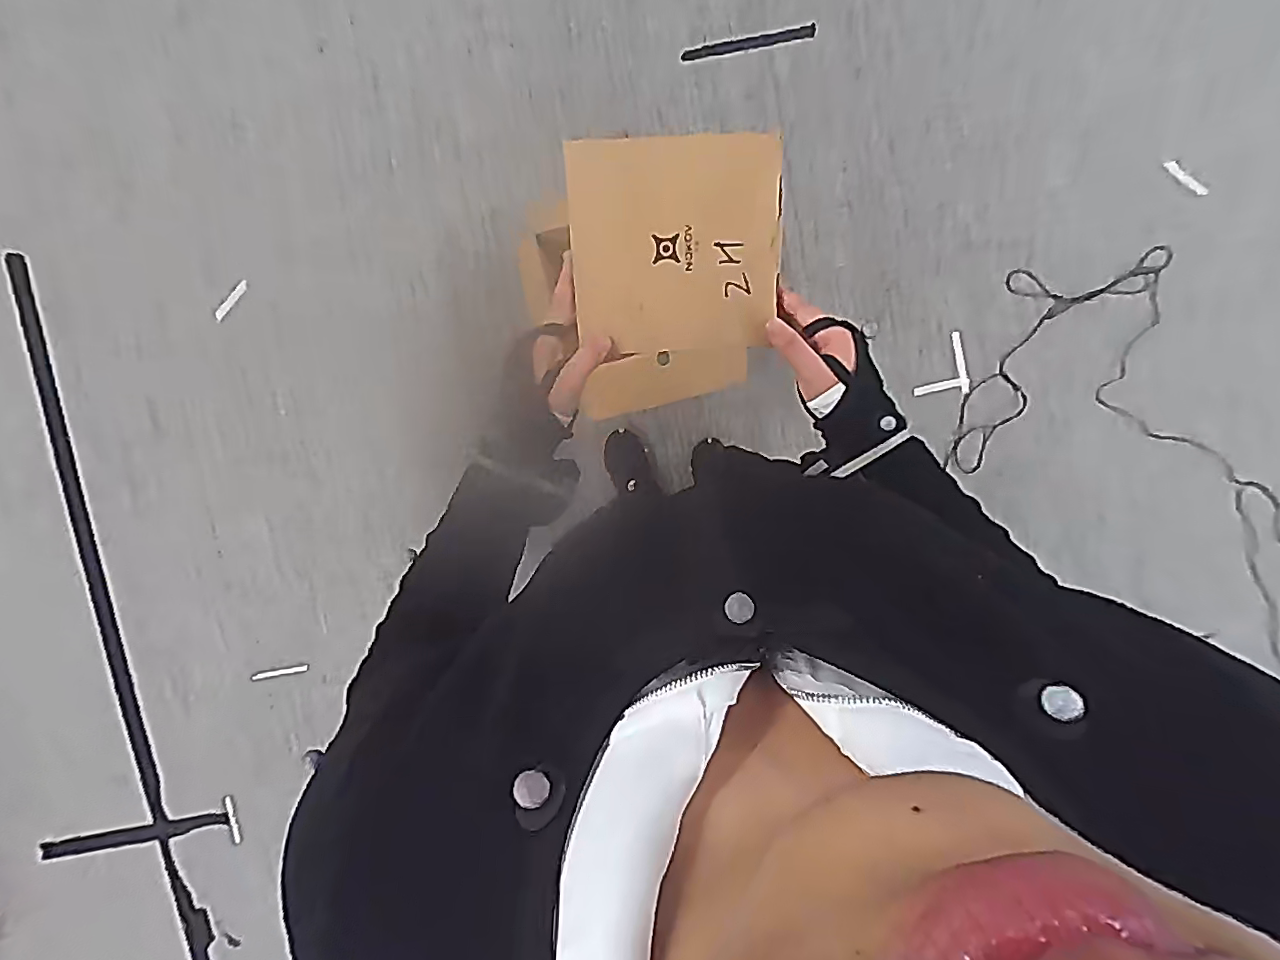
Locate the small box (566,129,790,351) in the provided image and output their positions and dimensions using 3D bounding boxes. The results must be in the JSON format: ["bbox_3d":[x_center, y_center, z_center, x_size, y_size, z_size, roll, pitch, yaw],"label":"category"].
[{"bbox_3d":[0.031,-0.214,0.516,0.179,0.176,0.168,-3,109,-1],"label":"small box"}]
